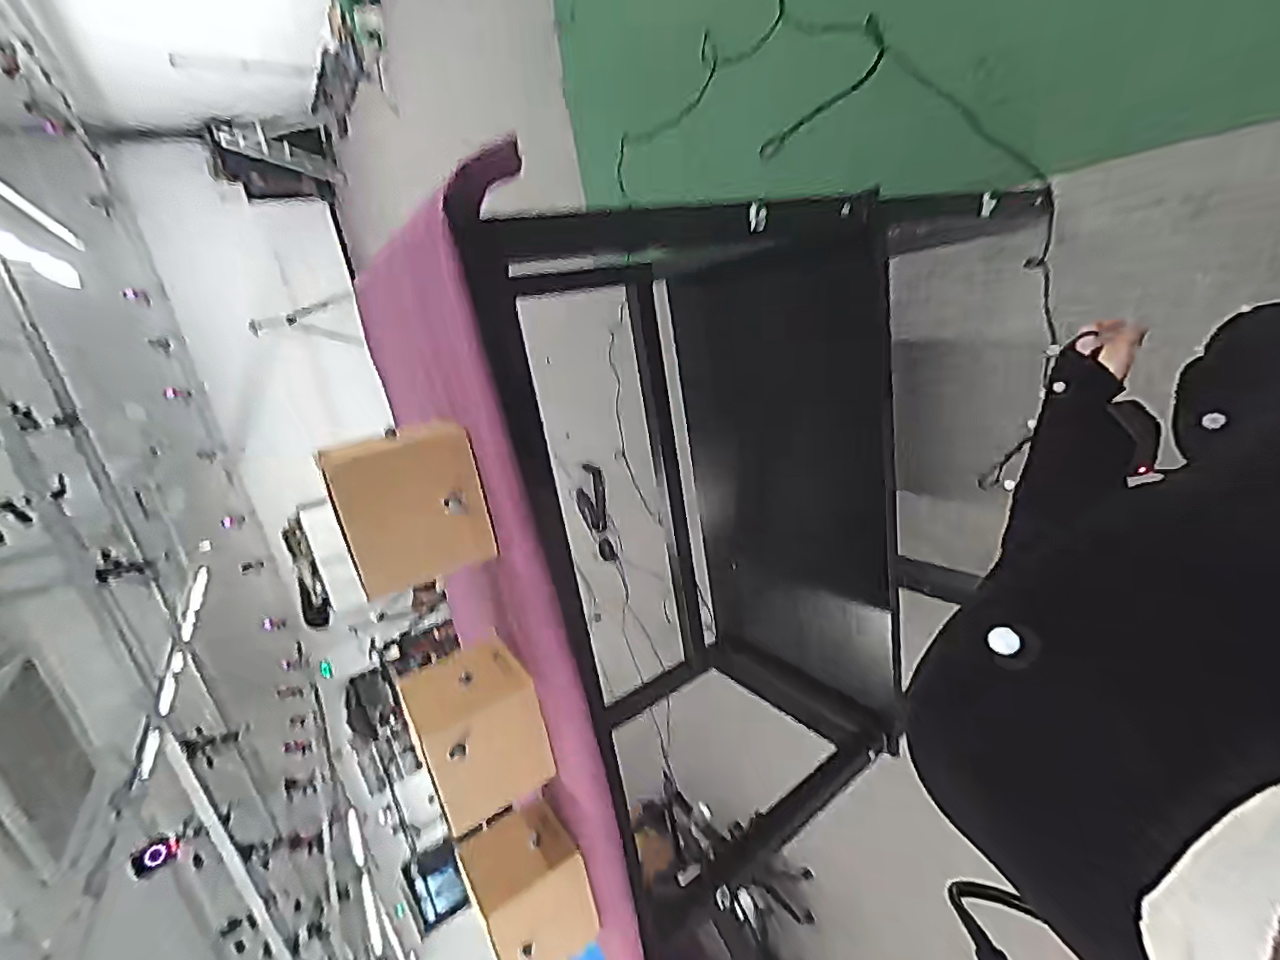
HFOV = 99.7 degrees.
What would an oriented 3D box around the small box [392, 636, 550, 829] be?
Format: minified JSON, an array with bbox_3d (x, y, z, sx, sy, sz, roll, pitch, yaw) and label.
[{"bbox_3d":[-0.258,0.372,0.834,0.168,0.176,0.179,16,120,55],"label":"small box"}]

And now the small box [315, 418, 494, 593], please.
[{"bbox_3d":[-0.315,0.020,0.727,0.168,0.176,0.179,17,120,56],"label":"small box"}]

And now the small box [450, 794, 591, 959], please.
[{"bbox_3d":[-0.198,0.688,0.916,0.168,0.176,0.179,10,113,56],"label":"small box"}]
